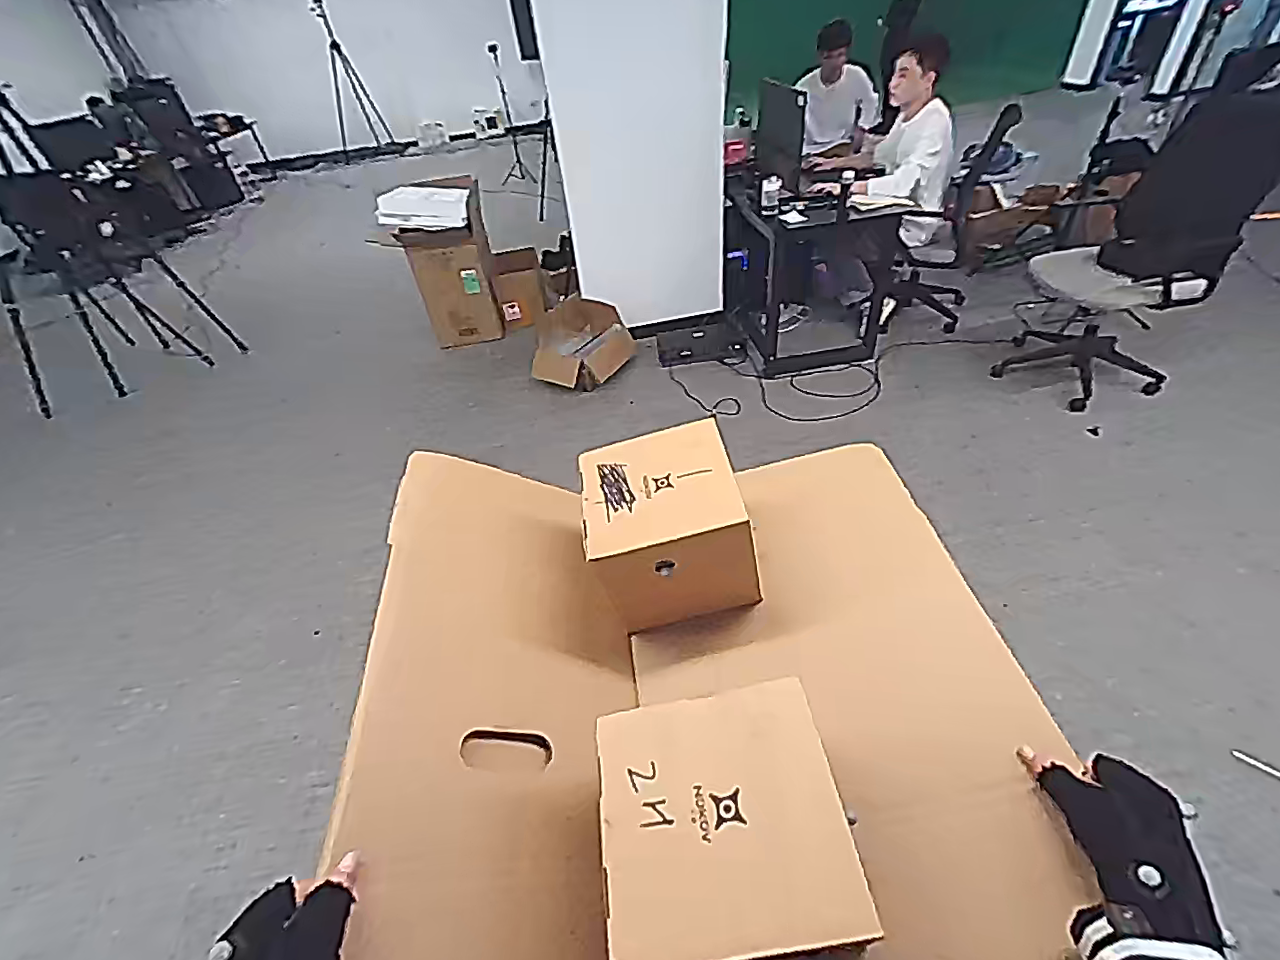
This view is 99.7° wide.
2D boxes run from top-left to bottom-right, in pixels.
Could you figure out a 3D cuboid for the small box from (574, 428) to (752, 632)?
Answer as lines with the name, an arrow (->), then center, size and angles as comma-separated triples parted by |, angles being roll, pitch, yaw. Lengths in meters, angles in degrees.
small box -> 0.029, 0.068, 0.676 | 0.179, 0.176, 0.168 | -15, 46, 4
